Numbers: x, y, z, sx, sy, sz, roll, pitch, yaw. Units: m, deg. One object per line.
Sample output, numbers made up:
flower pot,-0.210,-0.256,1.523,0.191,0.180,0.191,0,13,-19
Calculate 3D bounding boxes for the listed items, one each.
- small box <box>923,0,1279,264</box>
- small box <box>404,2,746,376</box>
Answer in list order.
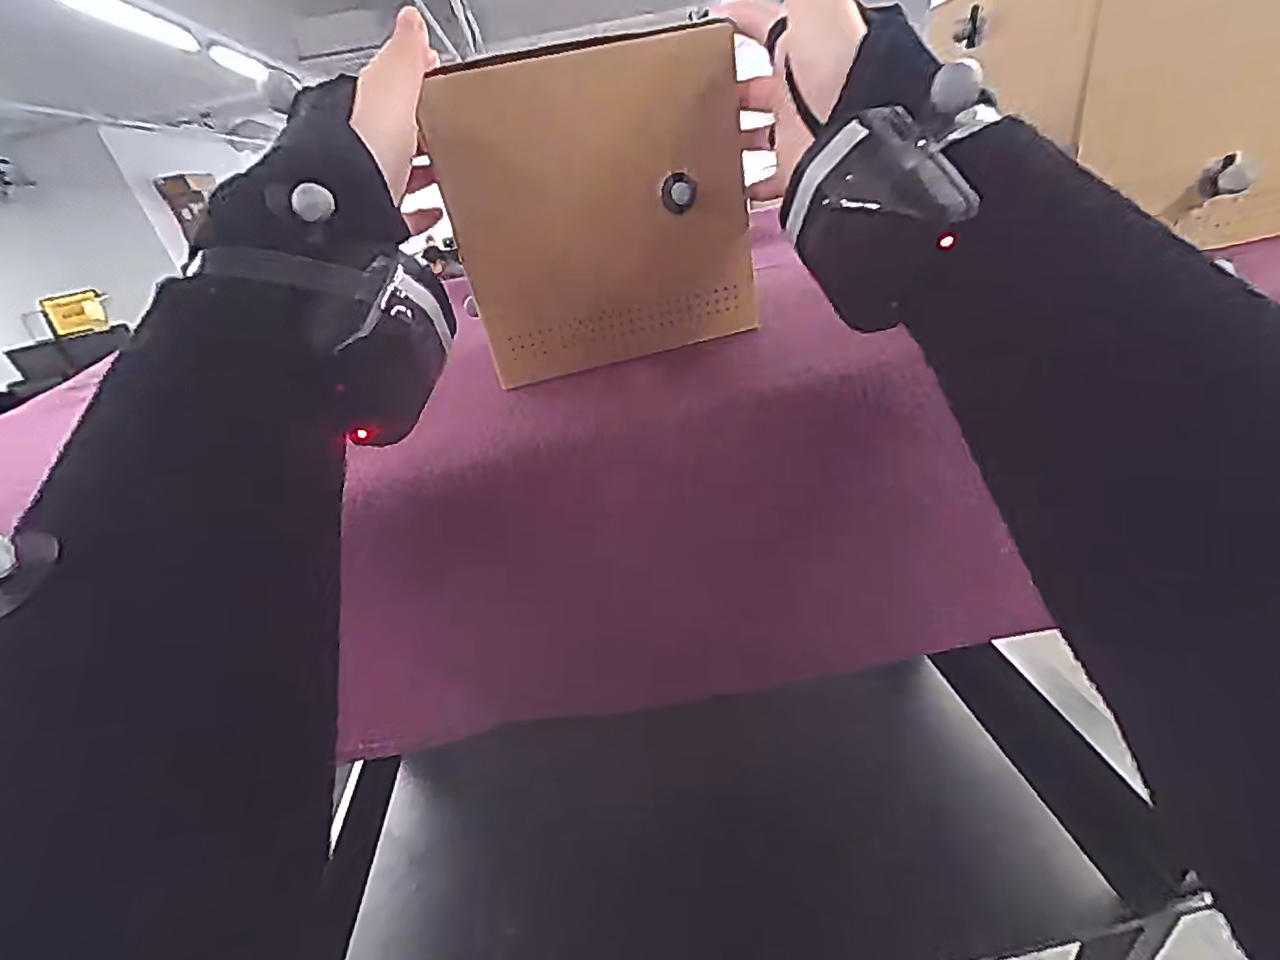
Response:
small box,0.308,-0.251,0.347,0.179,0.176,0.168,-11,28,2
small box,-0.034,-0.190,0.379,0.179,0.176,0.168,-16,28,-5
